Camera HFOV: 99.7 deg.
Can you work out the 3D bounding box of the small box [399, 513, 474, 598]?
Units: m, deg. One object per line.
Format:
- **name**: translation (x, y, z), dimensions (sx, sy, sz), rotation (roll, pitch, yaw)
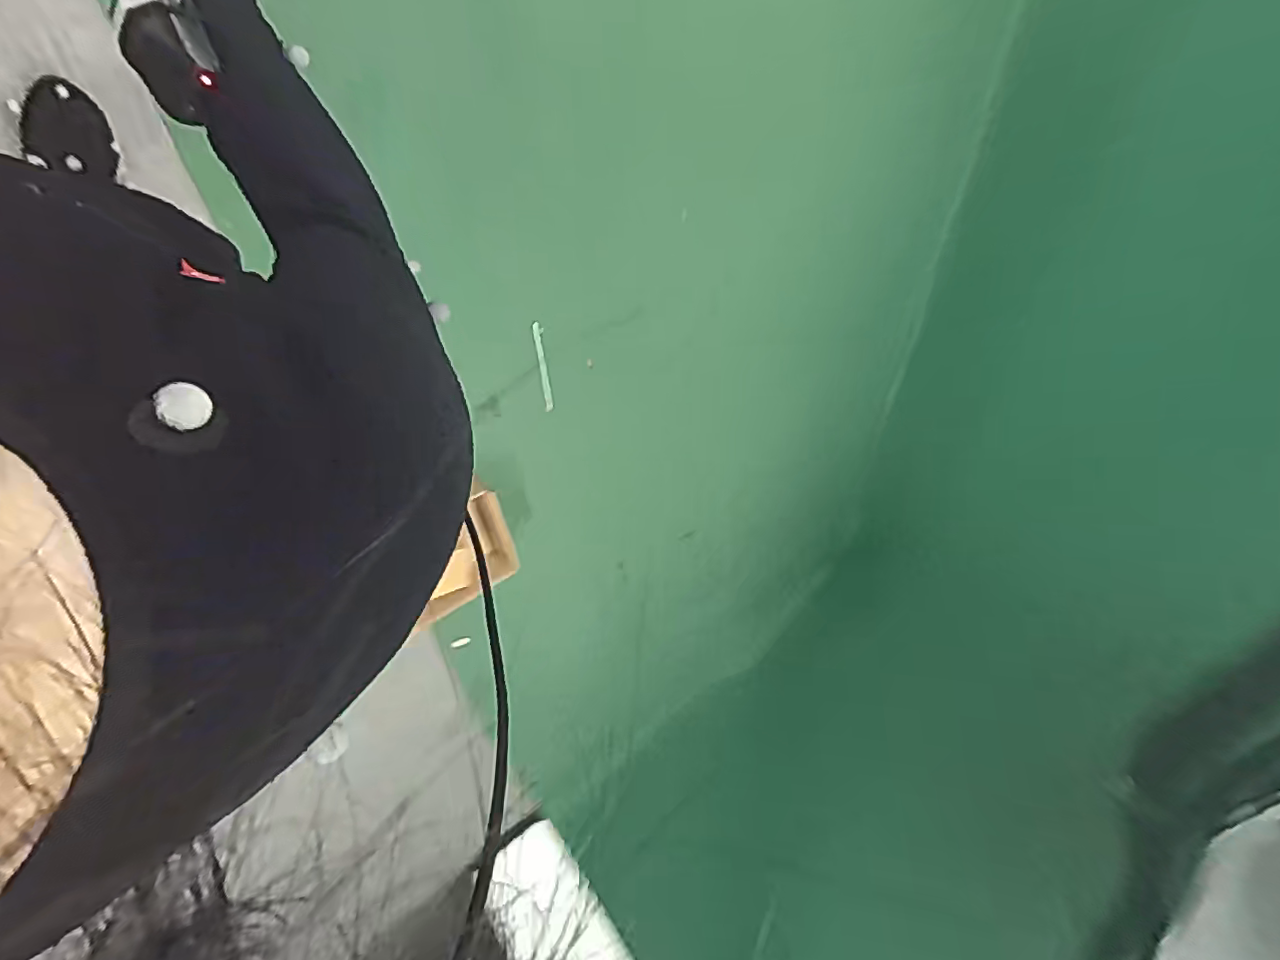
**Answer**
- **small box**: translation (-0.645, 0.234, 1.709), dimensions (0.179, 0.176, 0.168), rotation (-20, 134, -33)
